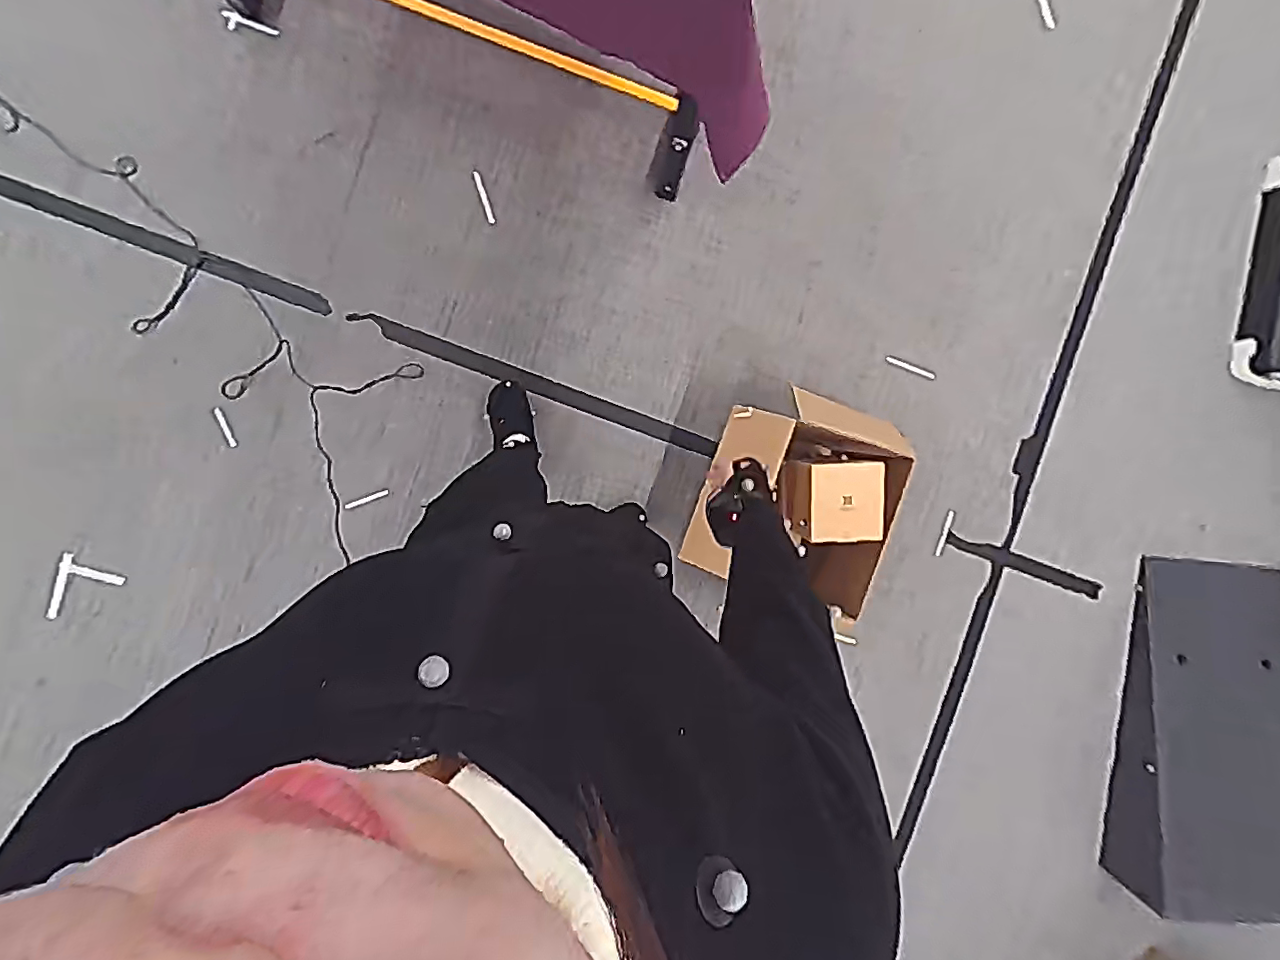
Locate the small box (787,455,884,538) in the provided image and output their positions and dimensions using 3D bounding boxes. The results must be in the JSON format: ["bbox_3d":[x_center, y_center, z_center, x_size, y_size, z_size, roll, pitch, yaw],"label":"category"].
[{"bbox_3d":[0.453,0.033,1.275,0.168,0.176,0.179,-2,97,-3],"label":"small box"}]
